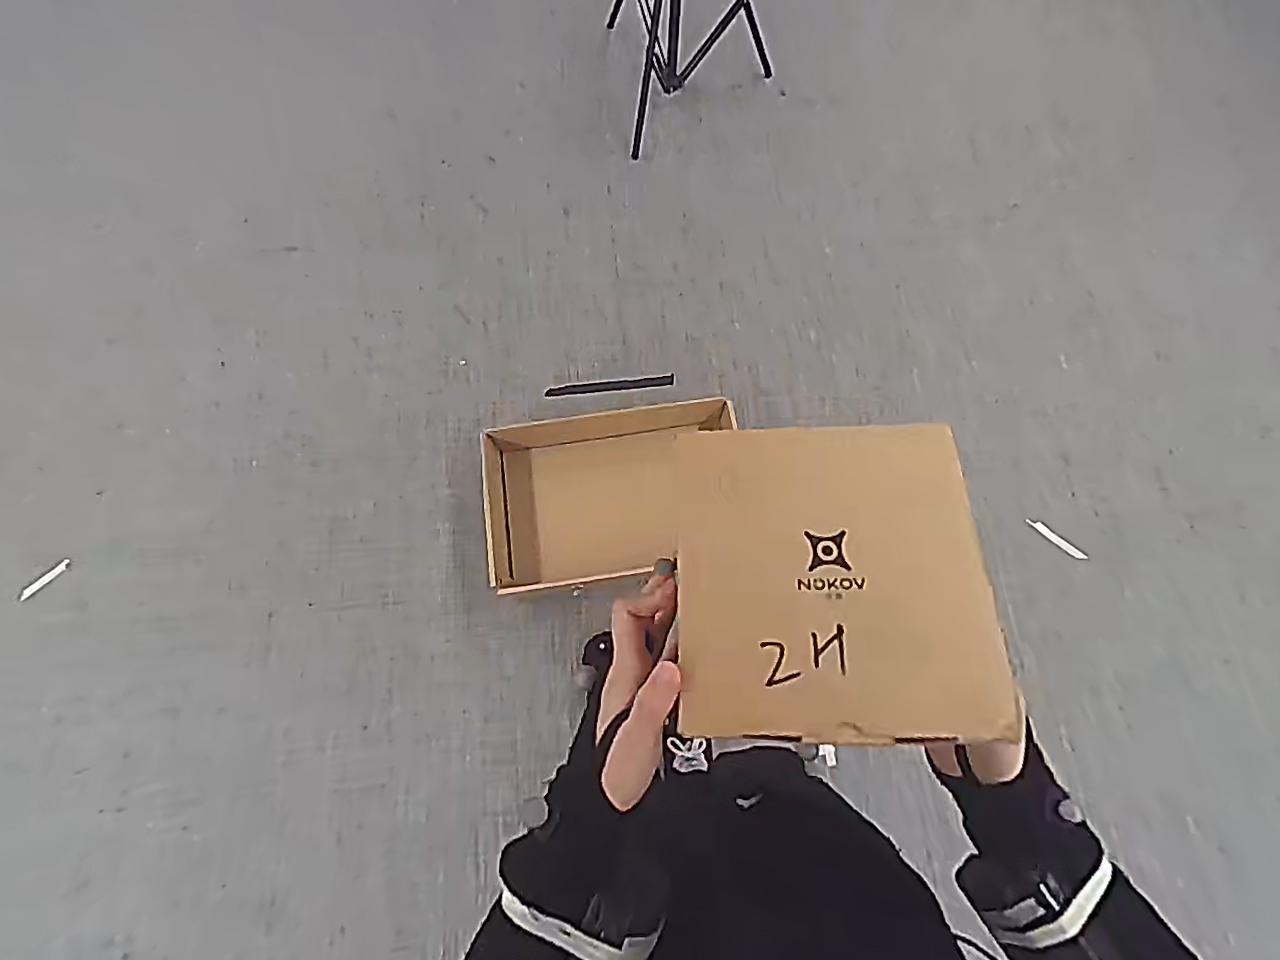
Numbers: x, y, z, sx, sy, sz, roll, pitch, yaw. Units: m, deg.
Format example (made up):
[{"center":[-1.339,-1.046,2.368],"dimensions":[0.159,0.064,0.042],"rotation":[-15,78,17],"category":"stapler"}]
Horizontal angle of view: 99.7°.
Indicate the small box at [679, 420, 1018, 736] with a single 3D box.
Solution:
[{"center":[0.112,0.075,0.373],"dimensions":[0.168,0.176,0.179],"rotation":[-1,67,7],"category":"small box"}]
